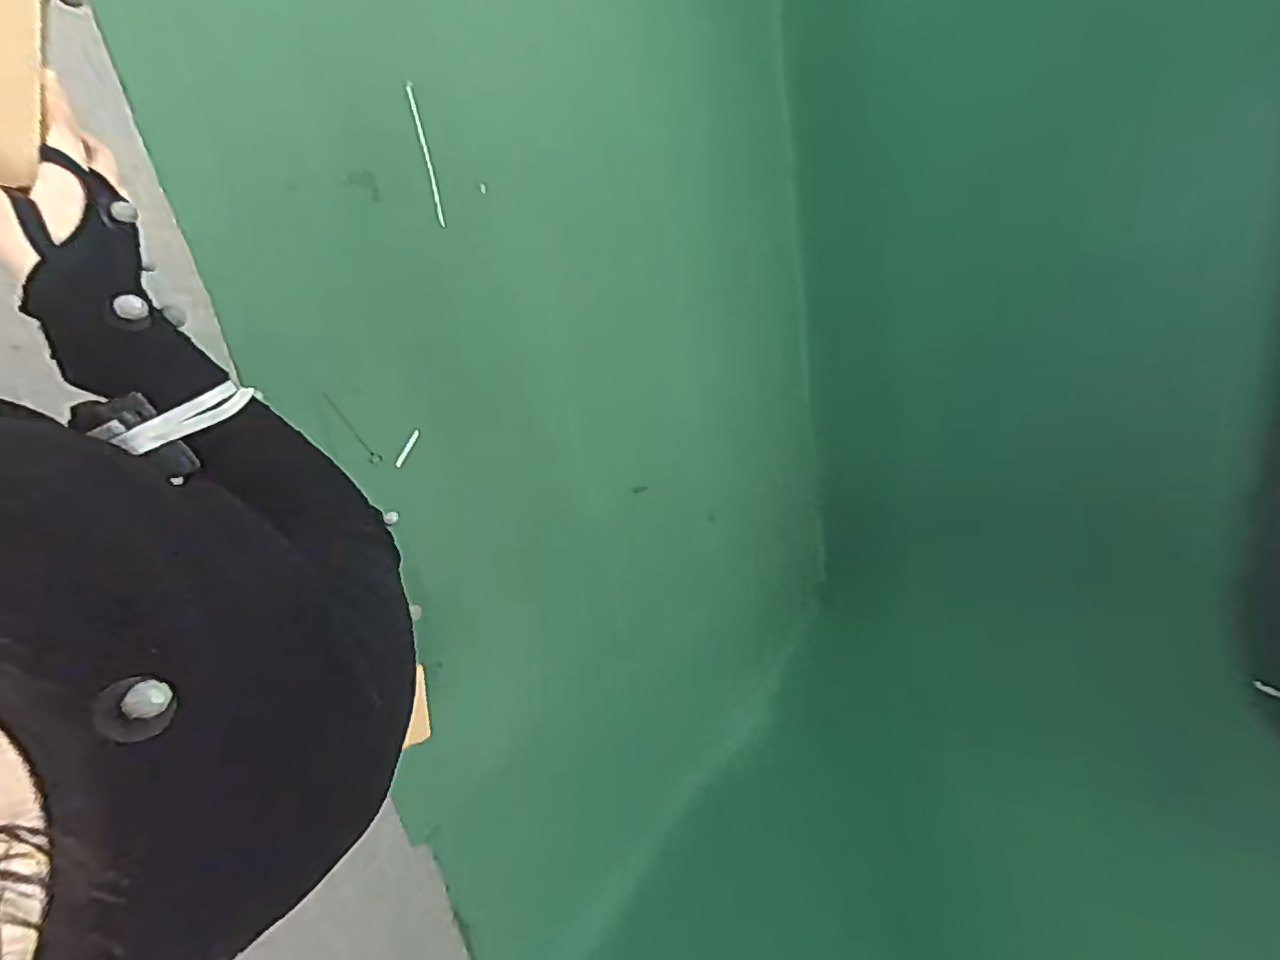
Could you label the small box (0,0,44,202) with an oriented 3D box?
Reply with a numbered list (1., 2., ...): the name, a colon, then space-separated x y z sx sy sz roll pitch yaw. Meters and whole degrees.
1. small box: -0.460 -0.277 0.302 0.168 0.176 0.179 0 108 -46
